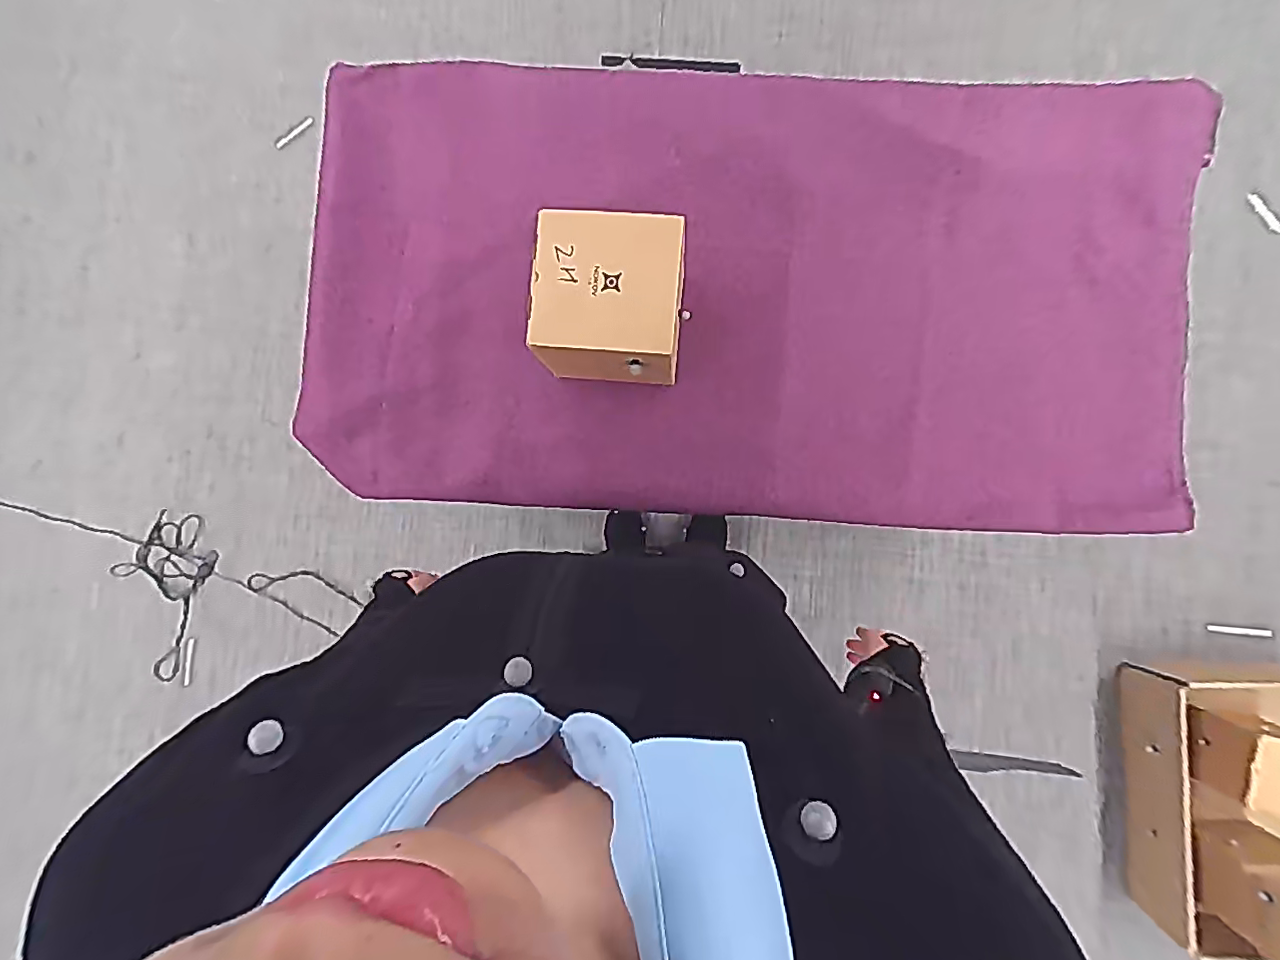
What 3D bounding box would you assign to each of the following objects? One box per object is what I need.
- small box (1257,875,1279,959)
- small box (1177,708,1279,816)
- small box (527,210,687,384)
[{"bbox_3d":[1.400,0.925,1.076,0.179,0.176,0.168,0,88,3],"label":"small box"},{"bbox_3d":[1.421,0.651,1.250,0.179,0.176,0.168,10,90,4],"label":"small box"},{"bbox_3d":[-0.034,-0.227,0.709,0.179,0.176,0.168,5,88,5],"label":"small box"}]
